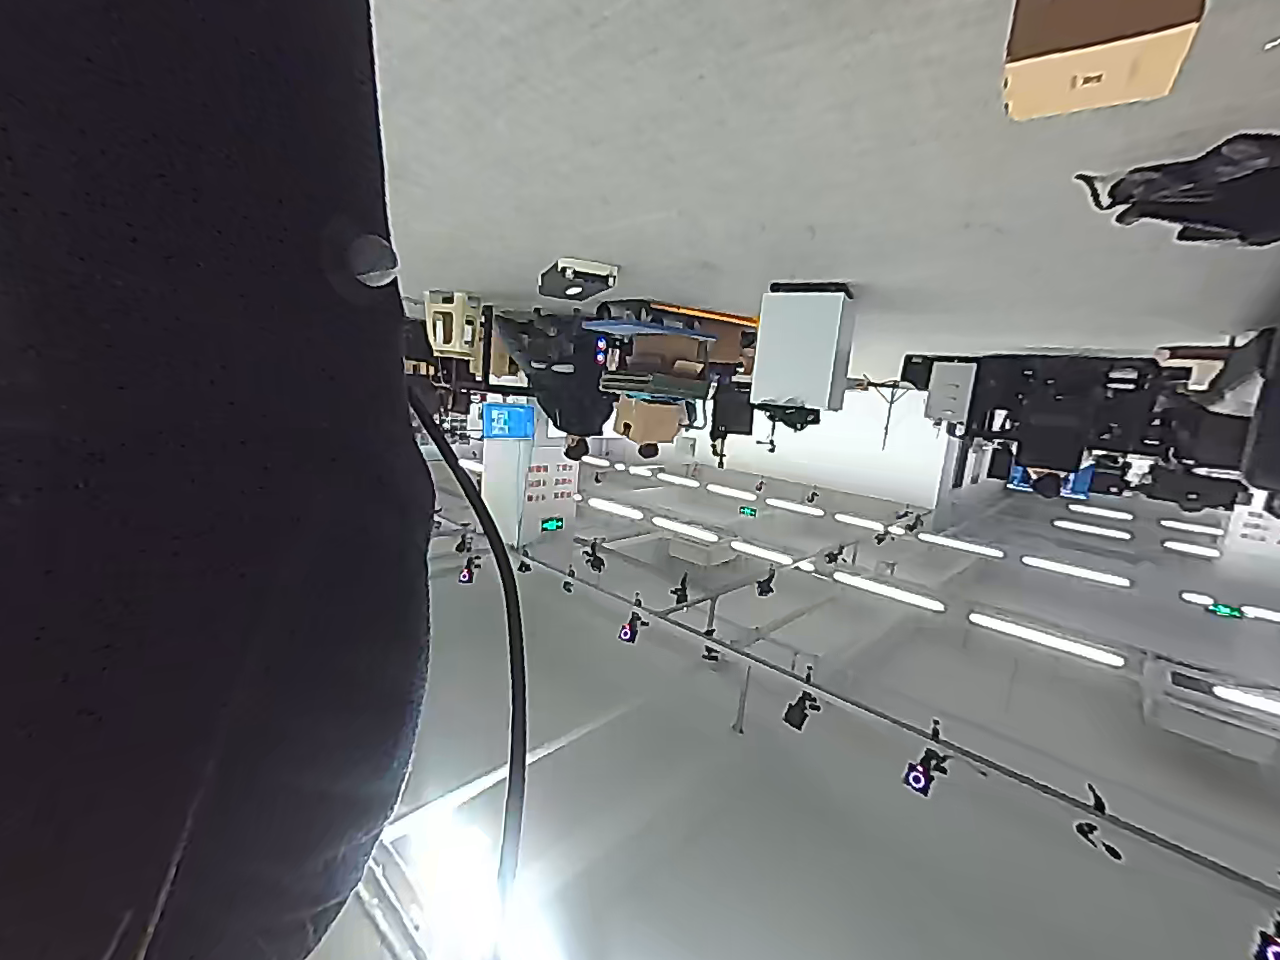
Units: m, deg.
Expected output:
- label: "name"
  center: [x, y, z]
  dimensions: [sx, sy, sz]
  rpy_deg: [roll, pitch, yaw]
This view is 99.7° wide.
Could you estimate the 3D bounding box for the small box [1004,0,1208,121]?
- label: "small box"
  center: [0.562, -0.576, 0.653]
  dimensions: [0.179, 0.176, 0.168]
  rpy_deg: [11, -167, 34]
